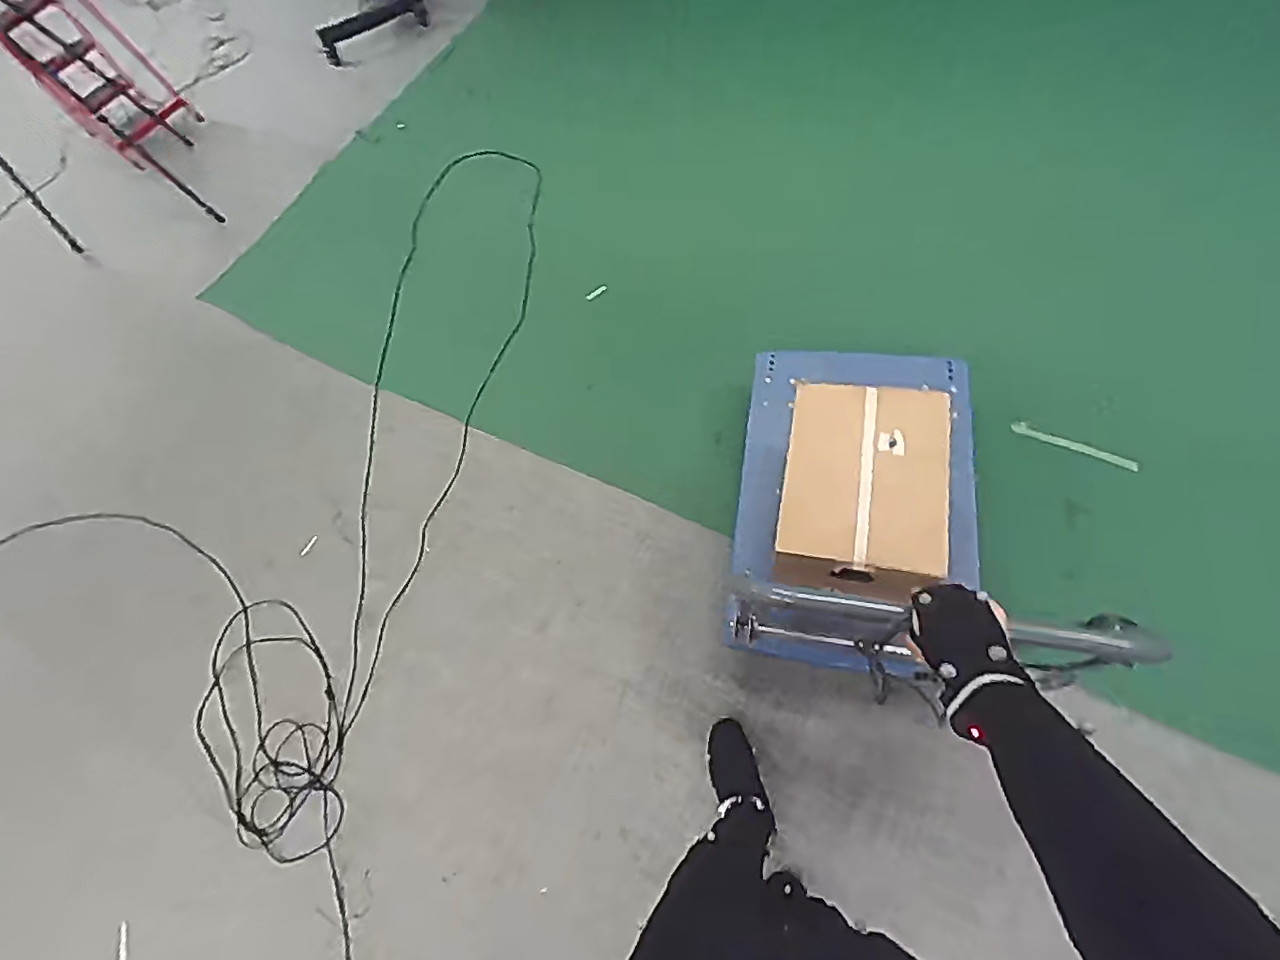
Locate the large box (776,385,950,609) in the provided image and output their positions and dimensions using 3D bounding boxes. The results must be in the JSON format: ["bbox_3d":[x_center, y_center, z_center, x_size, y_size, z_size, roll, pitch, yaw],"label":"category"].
[{"bbox_3d":[0.486,0.045,1.227,0.320,0.320,0.408,8,67,15],"label":"large box"}]
